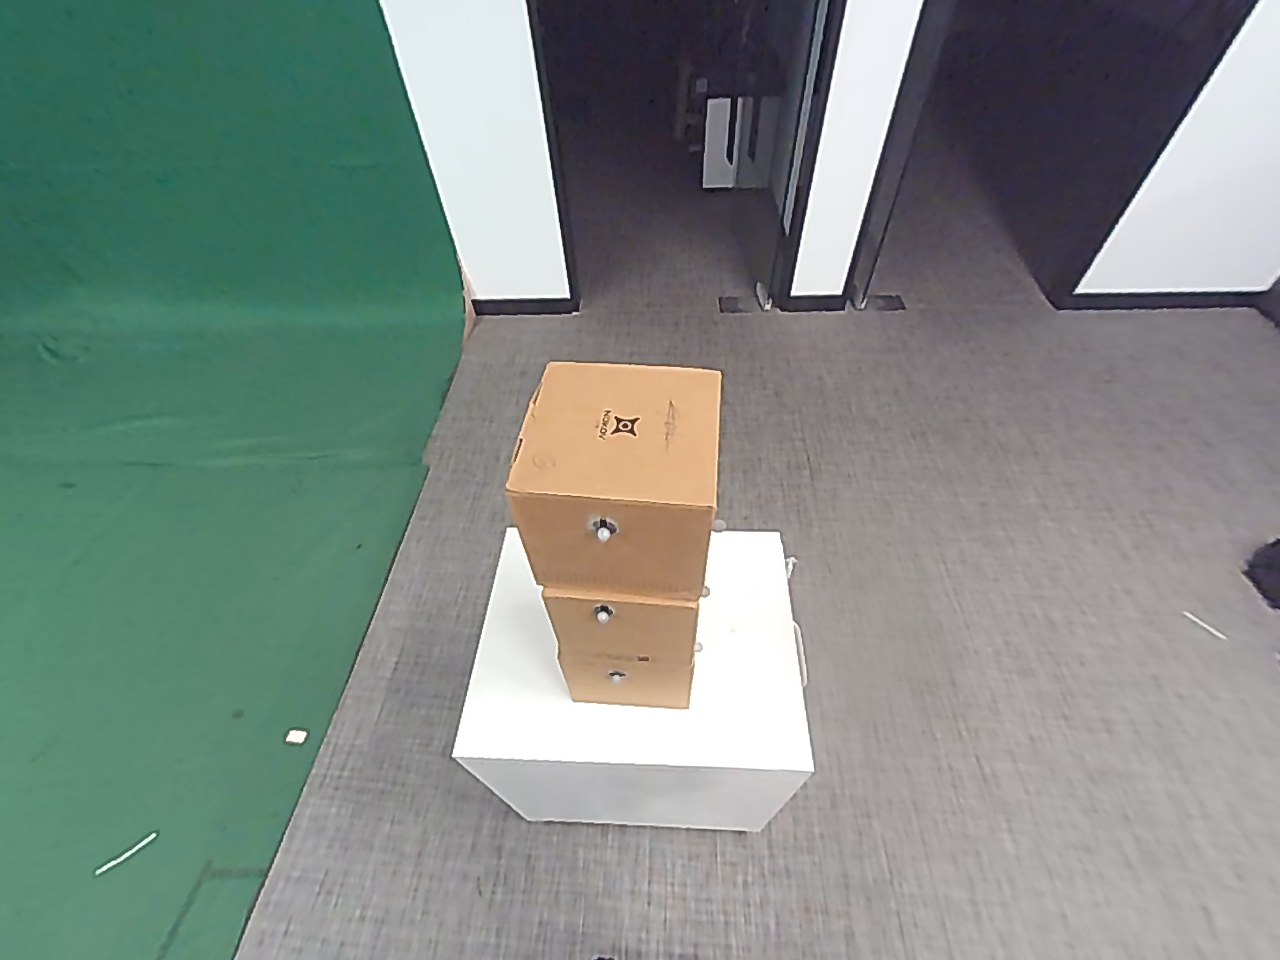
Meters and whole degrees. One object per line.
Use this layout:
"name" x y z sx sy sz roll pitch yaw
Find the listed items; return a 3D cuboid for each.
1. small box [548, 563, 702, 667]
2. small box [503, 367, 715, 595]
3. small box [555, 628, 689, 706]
"small box" -0.012 0.114 0.678 0.168 0.176 0.179 2 50 2
"small box" -0.018 0.004 0.556 0.179 0.176 0.168 4 52 5
"small box" -0.014 0.221 0.799 0.179 0.176 0.168 3 50 4
